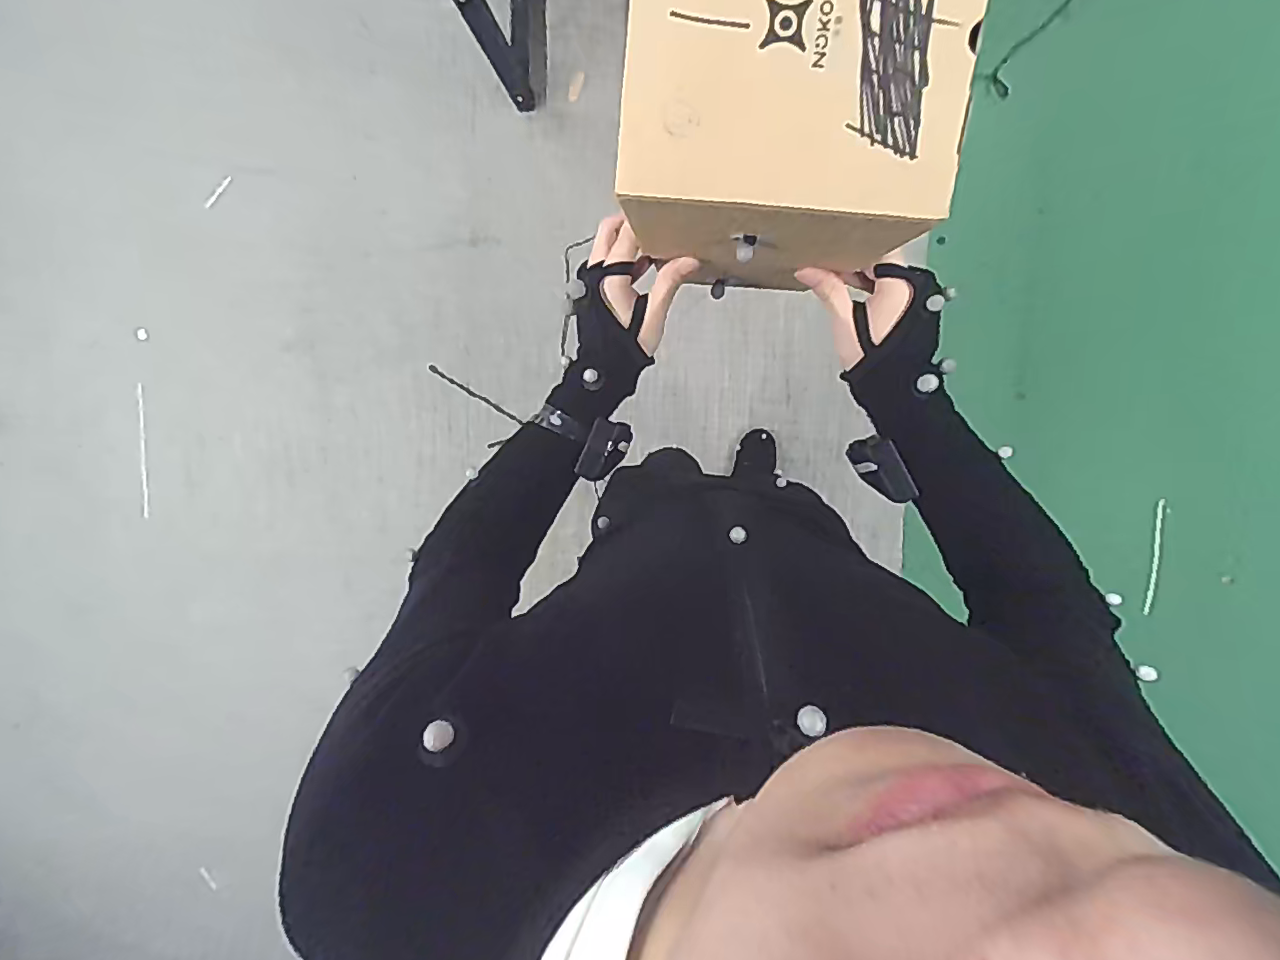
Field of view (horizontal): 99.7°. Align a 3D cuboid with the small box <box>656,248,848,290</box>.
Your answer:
[{"bbox_3d":[0.101,-0.284,0.500,0.168,0.176,0.179,6,103,4],"label":"small box"}]

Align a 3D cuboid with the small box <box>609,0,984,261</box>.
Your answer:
[{"bbox_3d":[0.084,-0.243,0.343,0.179,0.176,0.168,7,103,5],"label":"small box"}]
